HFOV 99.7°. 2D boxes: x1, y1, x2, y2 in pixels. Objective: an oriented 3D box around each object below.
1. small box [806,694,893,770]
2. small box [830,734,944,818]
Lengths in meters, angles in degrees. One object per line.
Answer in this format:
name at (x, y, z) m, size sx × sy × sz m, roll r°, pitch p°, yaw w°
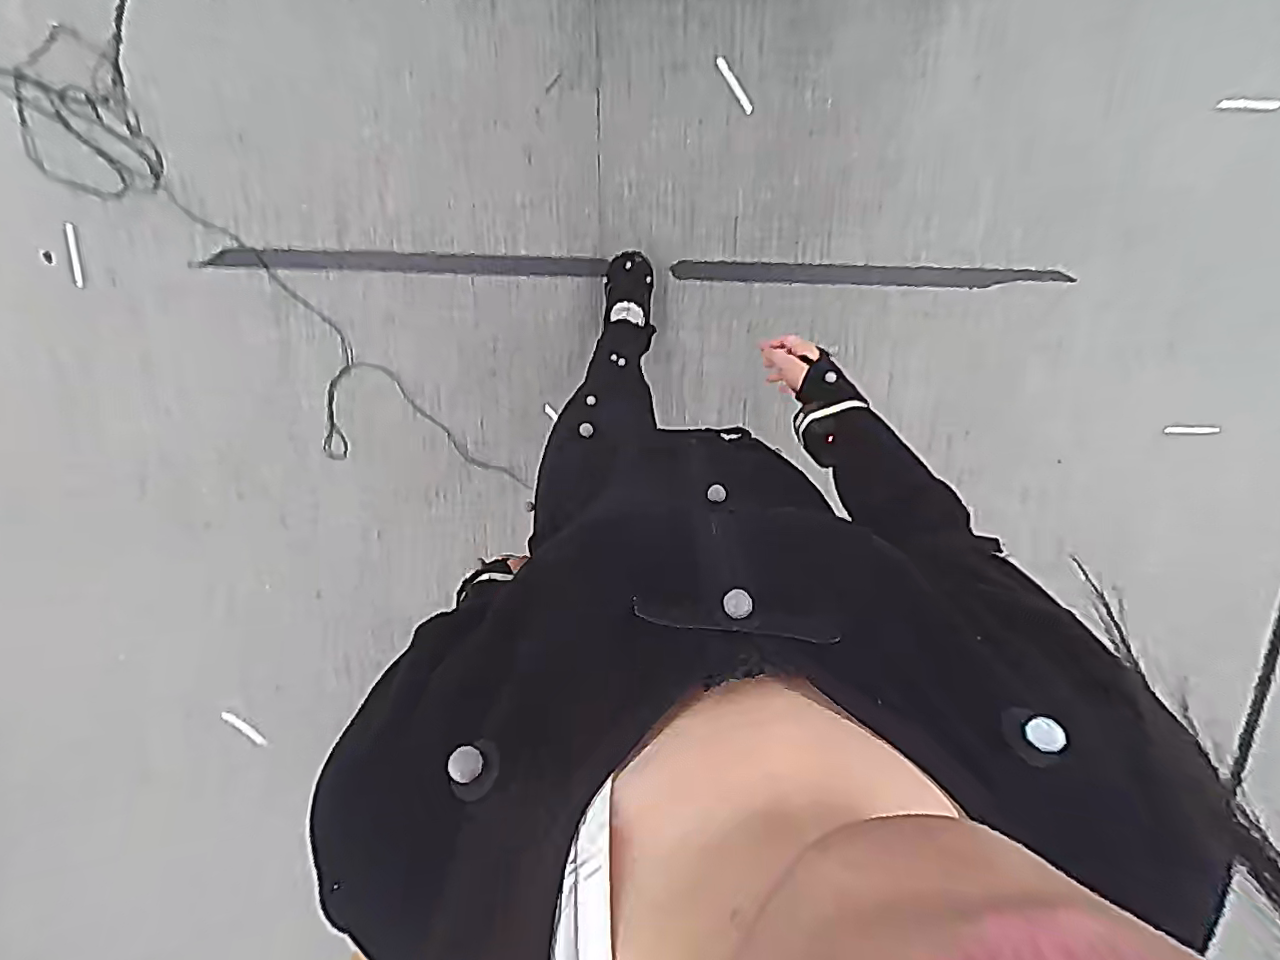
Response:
small box at (0.615, 0.760, 1.557) m, size 0.168 × 0.176 × 0.179 m, roll -43°, pitch 101°, yaw 7°
small box at (0.627, 0.795, 1.399) m, size 0.179 × 0.176 × 0.168 m, roll 41°, pitch 100°, yaw -11°
